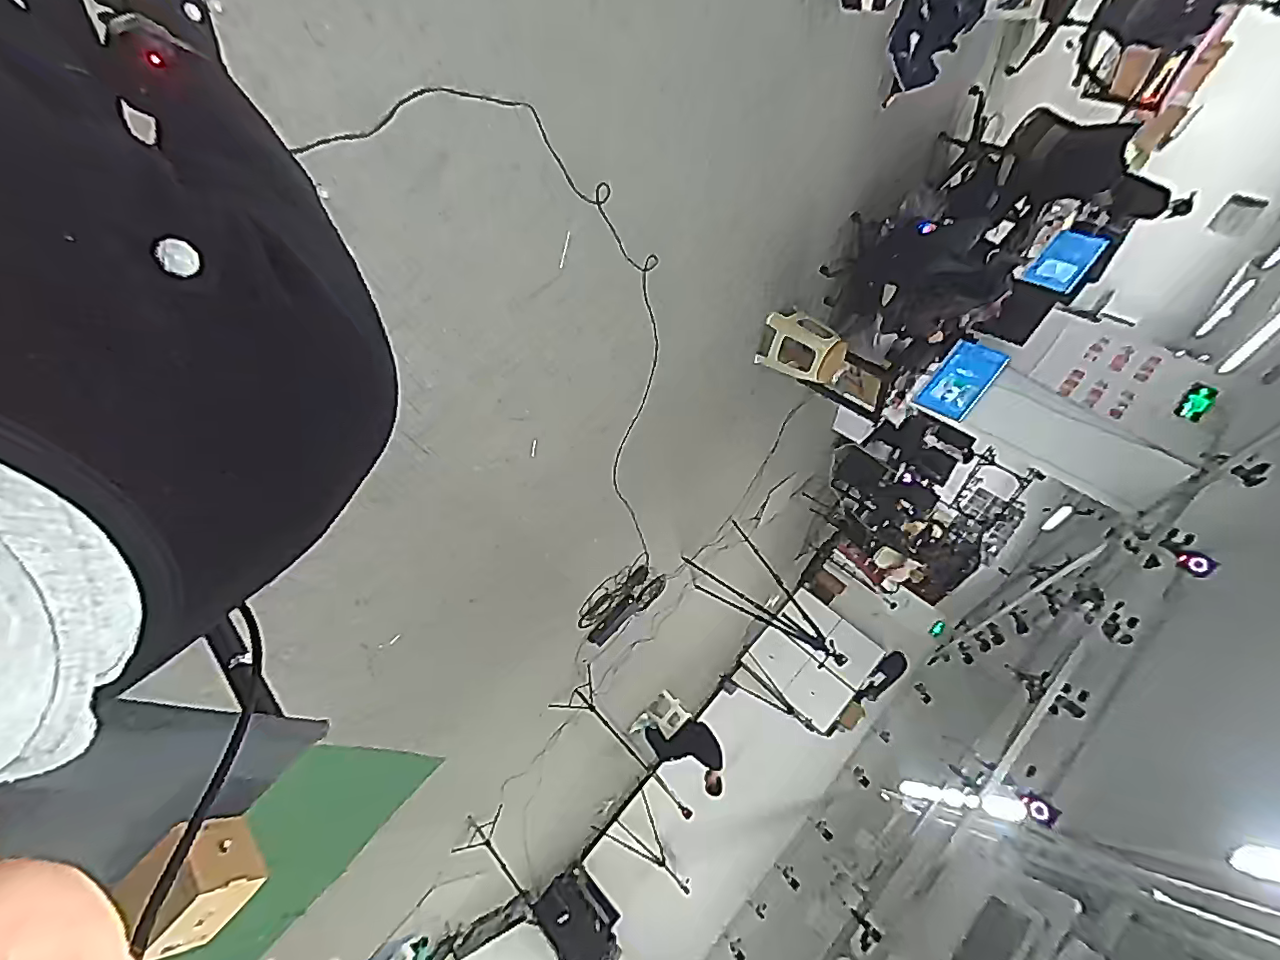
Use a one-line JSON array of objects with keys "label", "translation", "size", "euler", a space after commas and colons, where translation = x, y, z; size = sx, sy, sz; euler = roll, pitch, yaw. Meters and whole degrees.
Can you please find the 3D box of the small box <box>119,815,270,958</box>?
[{"label": "small box", "translation": [-0.964, 0.859, 1.171], "size": [0.179, 0.176, 0.168], "euler": [-48, 151, -10]}]
